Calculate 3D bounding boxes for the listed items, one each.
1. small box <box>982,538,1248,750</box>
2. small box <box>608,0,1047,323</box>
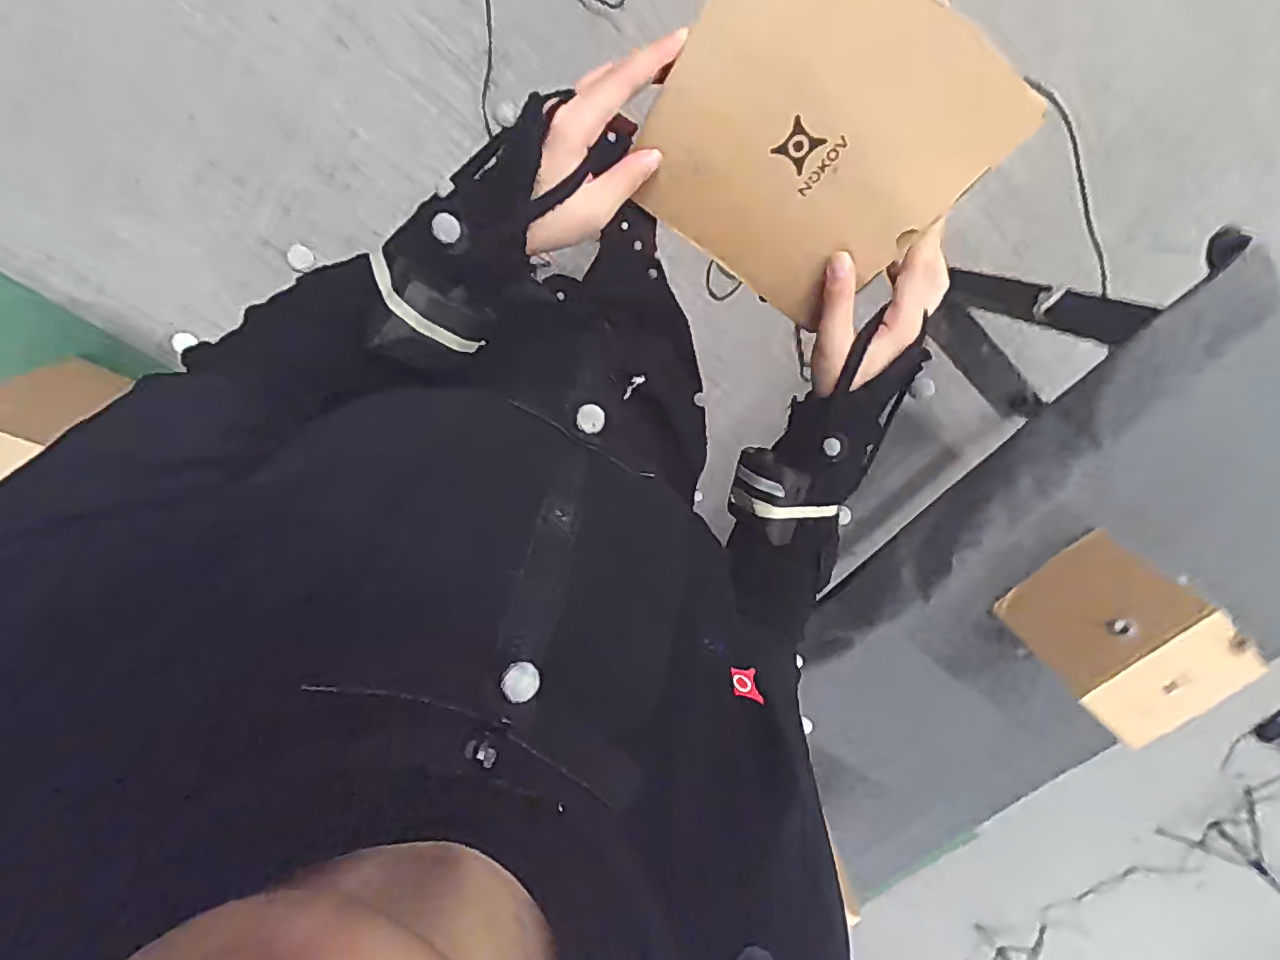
[{"bbox_3d":[0.610,0.210,0.715,0.168,0.176,0.179,37,109,-22],"label":"small box"},{"bbox_3d":[0.109,-0.247,0.355,0.179,0.176,0.168,31,137,-14],"label":"small box"}]
